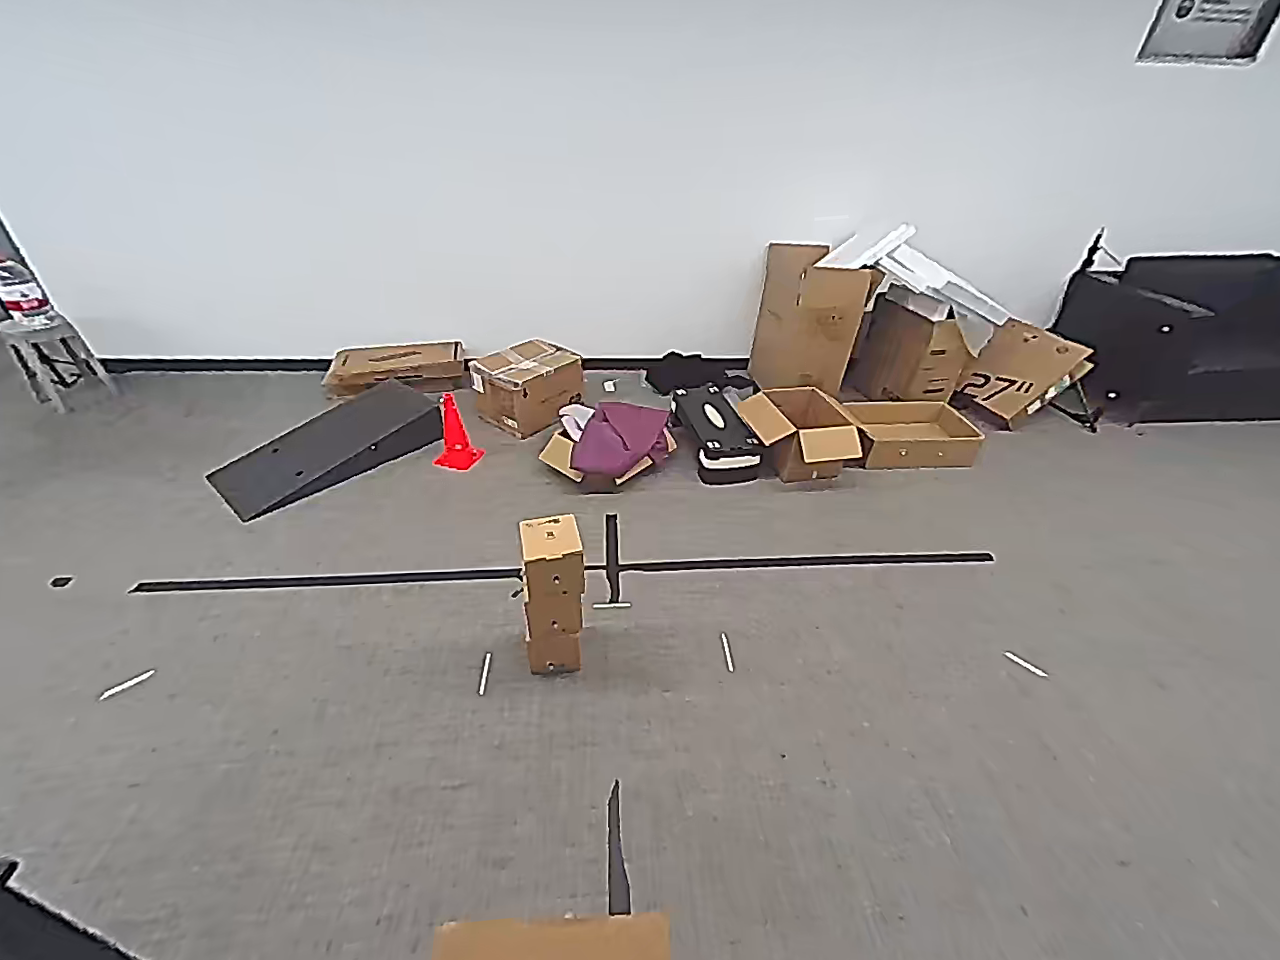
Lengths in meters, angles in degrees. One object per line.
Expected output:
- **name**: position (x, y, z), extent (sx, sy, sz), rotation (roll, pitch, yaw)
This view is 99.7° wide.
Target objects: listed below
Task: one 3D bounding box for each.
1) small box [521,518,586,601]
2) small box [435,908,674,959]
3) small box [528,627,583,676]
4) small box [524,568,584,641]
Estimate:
- **small box**: position (-0.254, 0.239, 1.590), extent (0.168, 0.176, 0.179), rotation (-8, 36, -12)
- **small box**: position (-0.062, 0.445, 0.405), extent (0.179, 0.176, 0.168), rotation (0, 42, -4)
- **small box**: position (-0.274, 0.515, 1.770), extent (0.168, 0.176, 0.179), rotation (-4, 36, -6)
- **small box**: position (-0.269, 0.372, 1.686), extent (0.168, 0.176, 0.179), rotation (-7, 36, -10)
